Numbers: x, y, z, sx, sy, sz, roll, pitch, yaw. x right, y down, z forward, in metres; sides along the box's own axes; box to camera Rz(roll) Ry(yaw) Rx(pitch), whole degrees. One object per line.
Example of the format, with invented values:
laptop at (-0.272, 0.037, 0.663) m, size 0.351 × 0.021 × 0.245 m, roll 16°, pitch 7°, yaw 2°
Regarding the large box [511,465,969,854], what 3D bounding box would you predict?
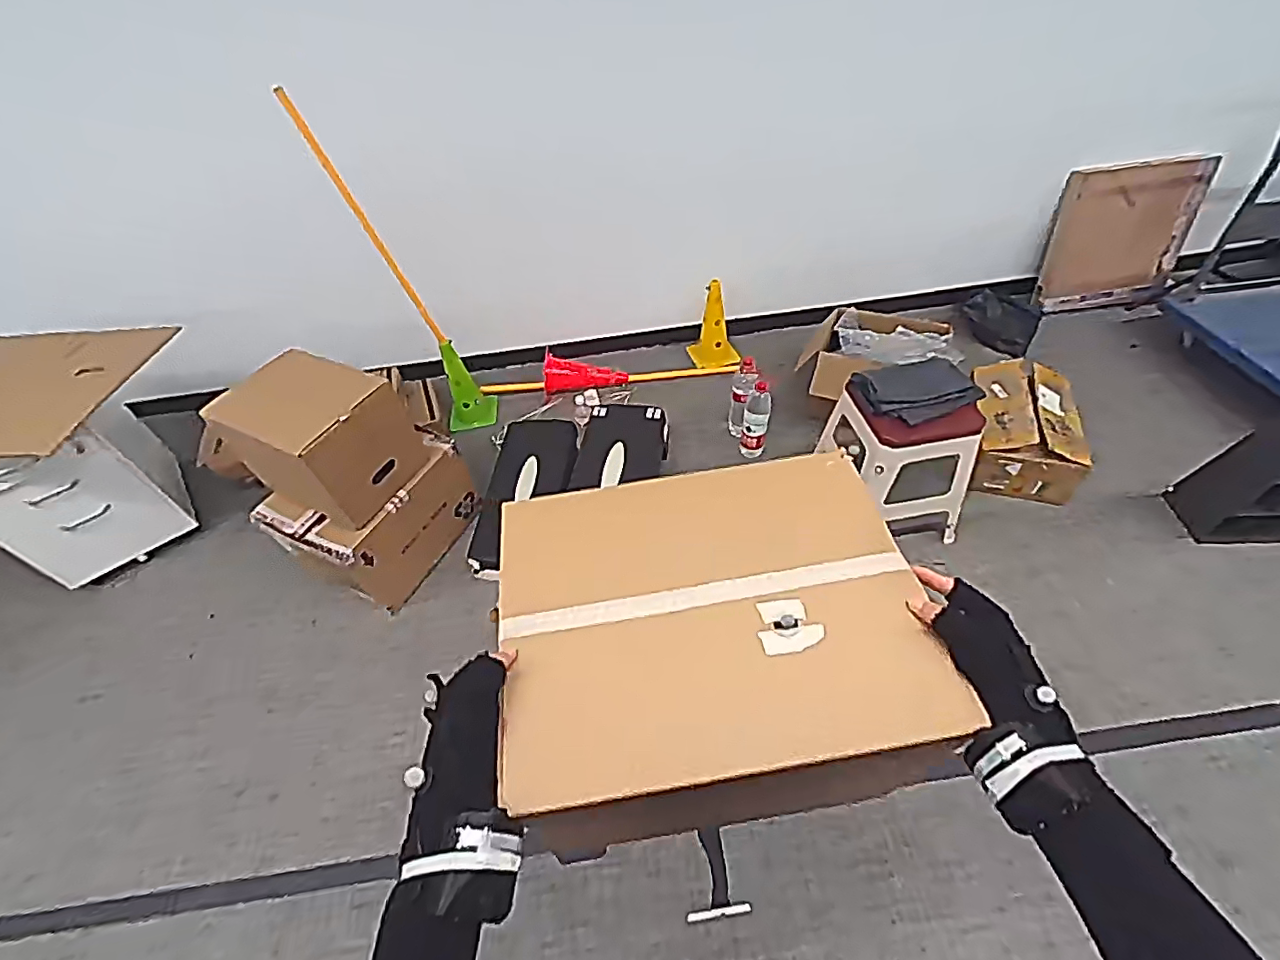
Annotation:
large box at (0.076, 0.223, 0.661) m, size 0.408 × 0.320 × 0.320 m, roll -9°, pitch 51°, yaw -2°
